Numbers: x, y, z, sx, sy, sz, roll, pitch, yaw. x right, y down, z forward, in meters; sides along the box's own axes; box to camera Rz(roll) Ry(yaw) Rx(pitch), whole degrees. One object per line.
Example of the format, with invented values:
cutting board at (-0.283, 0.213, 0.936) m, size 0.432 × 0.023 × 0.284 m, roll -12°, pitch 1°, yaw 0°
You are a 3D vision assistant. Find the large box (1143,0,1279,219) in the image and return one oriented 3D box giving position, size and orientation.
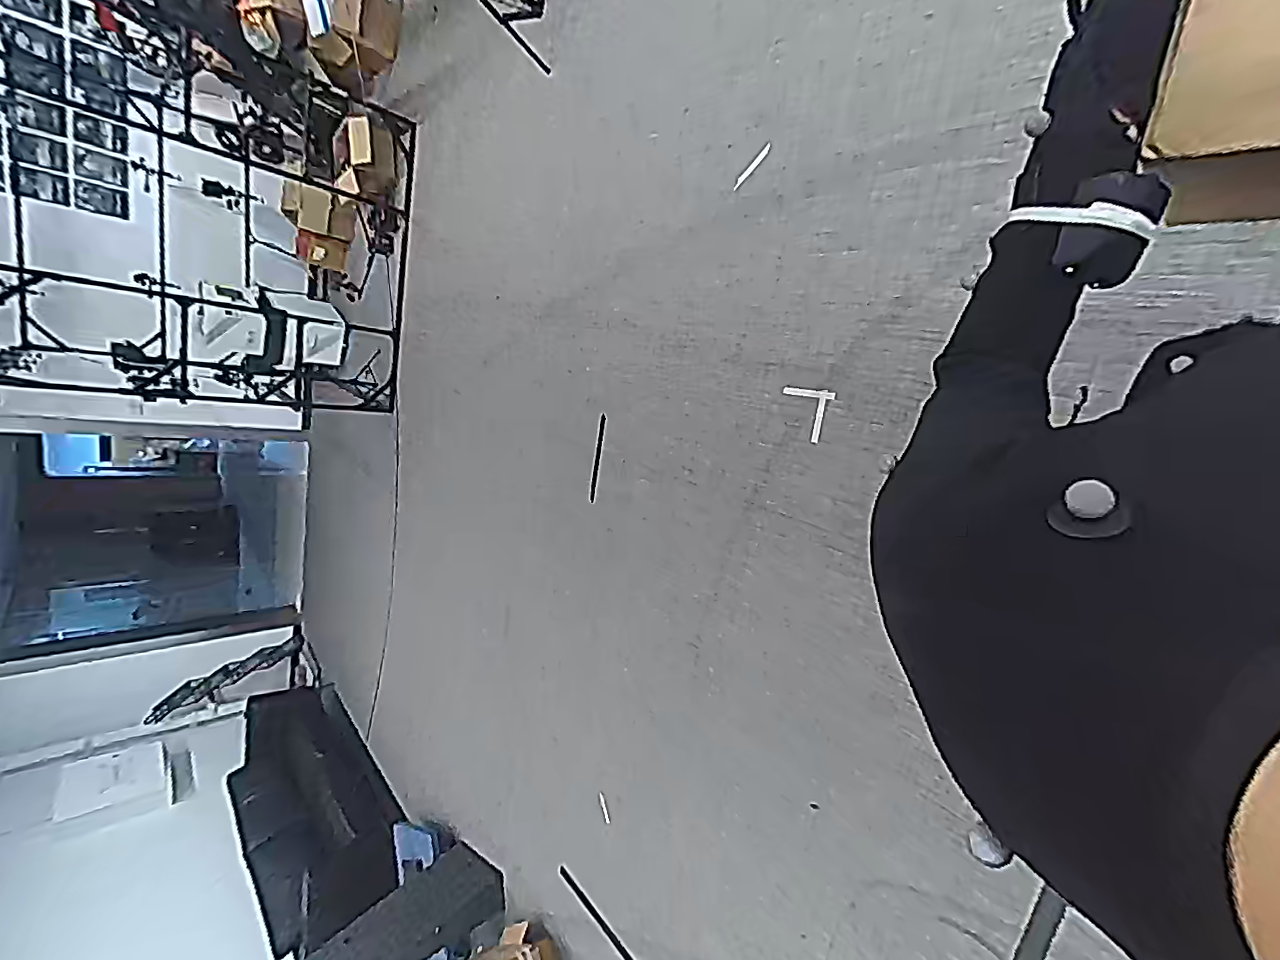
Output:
large box at (0.606, -0.361, 0.314) m, size 0.408 × 0.320 × 0.320 m, roll 18°, pitch 114°, yaw 42°
